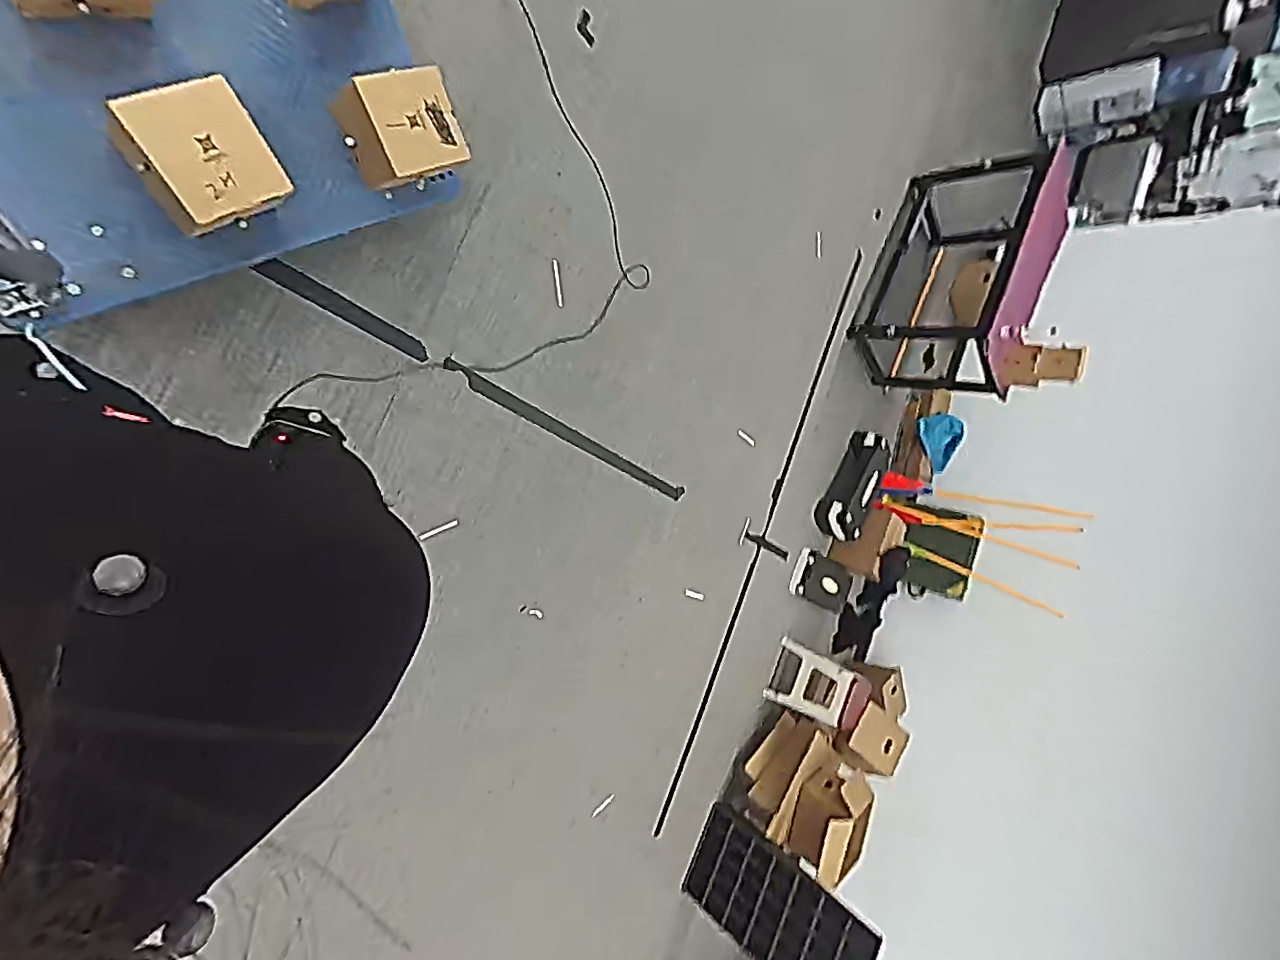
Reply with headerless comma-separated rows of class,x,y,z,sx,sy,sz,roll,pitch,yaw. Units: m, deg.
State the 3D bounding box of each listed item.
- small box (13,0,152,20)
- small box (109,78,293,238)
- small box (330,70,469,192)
small box,-0.826,-0.782,0.752,0.168,0.176,0.179,-35,125,-34
small box,-0.737,-0.531,0.909,0.168,0.176,0.179,-43,128,-29
small box,-0.492,-0.709,1.107,0.179,0.176,0.168,-38,125,-31
